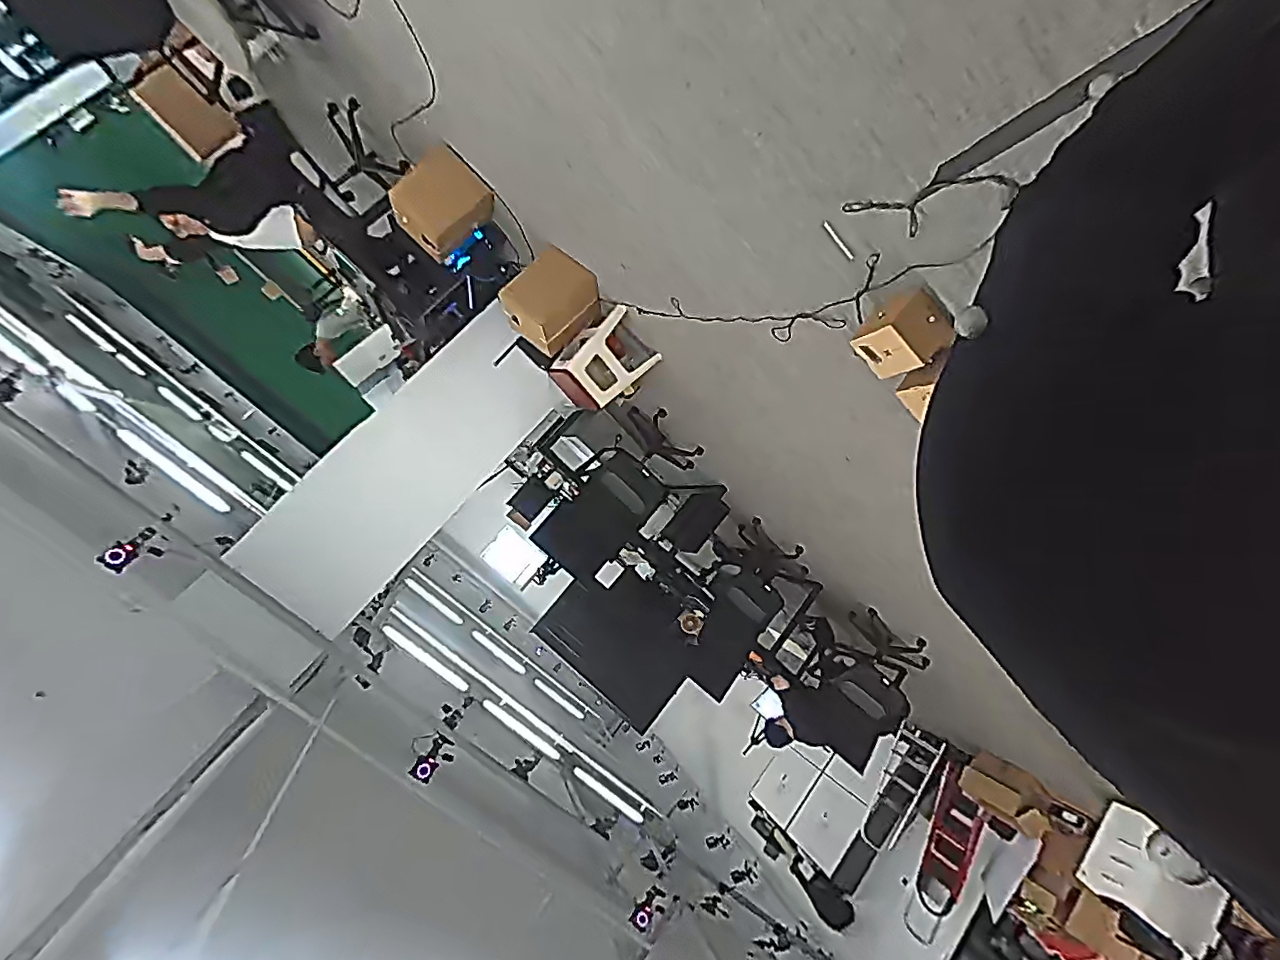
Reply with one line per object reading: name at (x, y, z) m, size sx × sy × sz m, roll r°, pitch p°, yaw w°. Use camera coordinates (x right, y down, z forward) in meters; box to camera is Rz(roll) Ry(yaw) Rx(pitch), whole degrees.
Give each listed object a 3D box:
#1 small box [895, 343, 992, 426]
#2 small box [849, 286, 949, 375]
small box at (0.948, -0.293, 1.683) m, size 0.179 × 0.176 × 0.168 m, roll 43°, pitch 166°, yaw -15°
small box at (0.782, -0.448, 1.633) m, size 0.168 × 0.176 × 0.179 m, roll 43°, pitch 165°, yaw -13°
